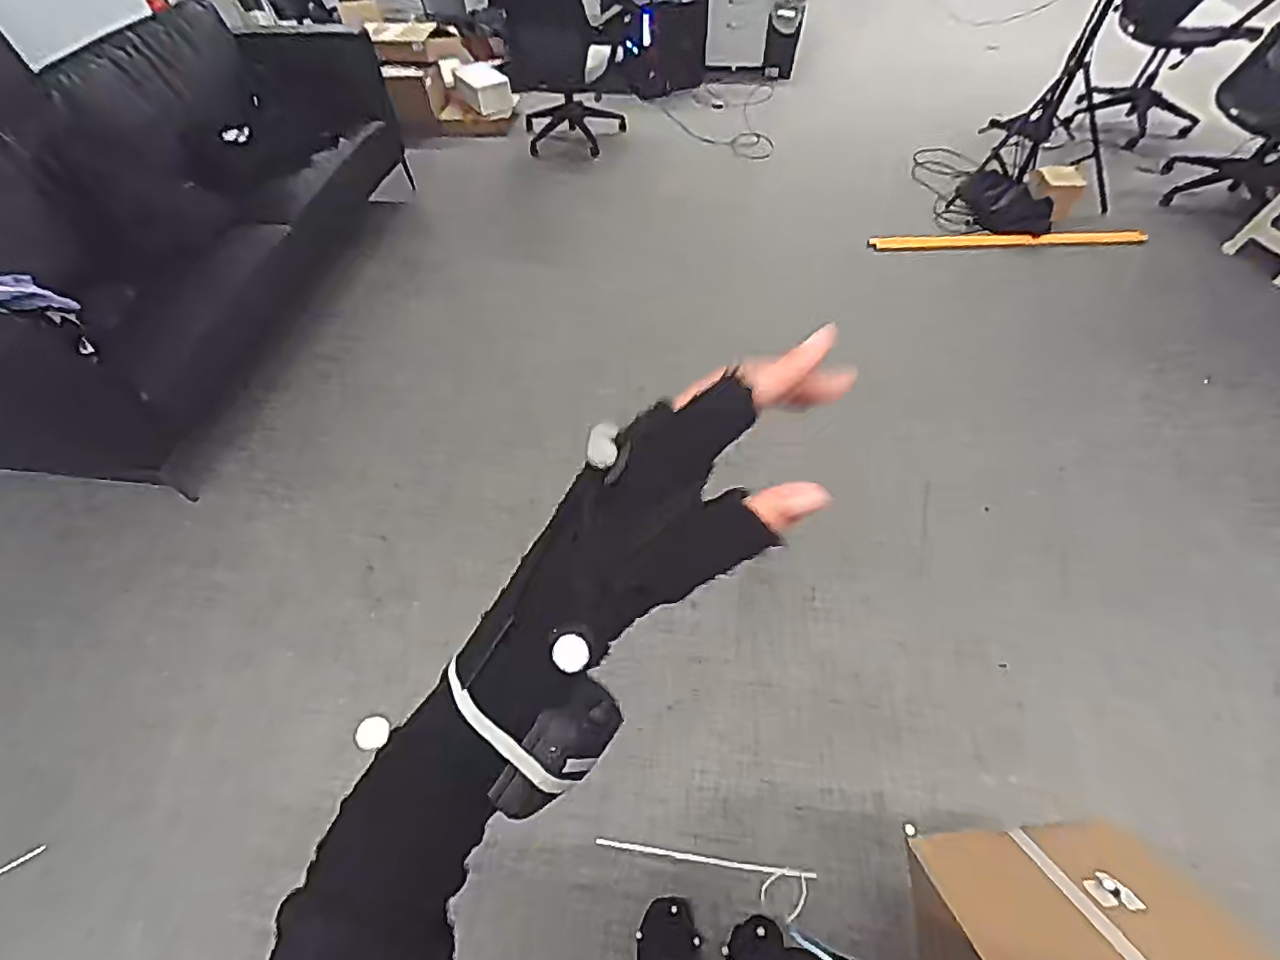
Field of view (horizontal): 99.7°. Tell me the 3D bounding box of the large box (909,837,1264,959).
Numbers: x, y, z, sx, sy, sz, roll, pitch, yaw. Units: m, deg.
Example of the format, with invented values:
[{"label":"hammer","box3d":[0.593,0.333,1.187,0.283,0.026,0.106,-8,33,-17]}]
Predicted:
[{"label":"large box","box3d":[0.573,0.708,0.626,0.320,0.408,0.320,-7,90,4]}]
